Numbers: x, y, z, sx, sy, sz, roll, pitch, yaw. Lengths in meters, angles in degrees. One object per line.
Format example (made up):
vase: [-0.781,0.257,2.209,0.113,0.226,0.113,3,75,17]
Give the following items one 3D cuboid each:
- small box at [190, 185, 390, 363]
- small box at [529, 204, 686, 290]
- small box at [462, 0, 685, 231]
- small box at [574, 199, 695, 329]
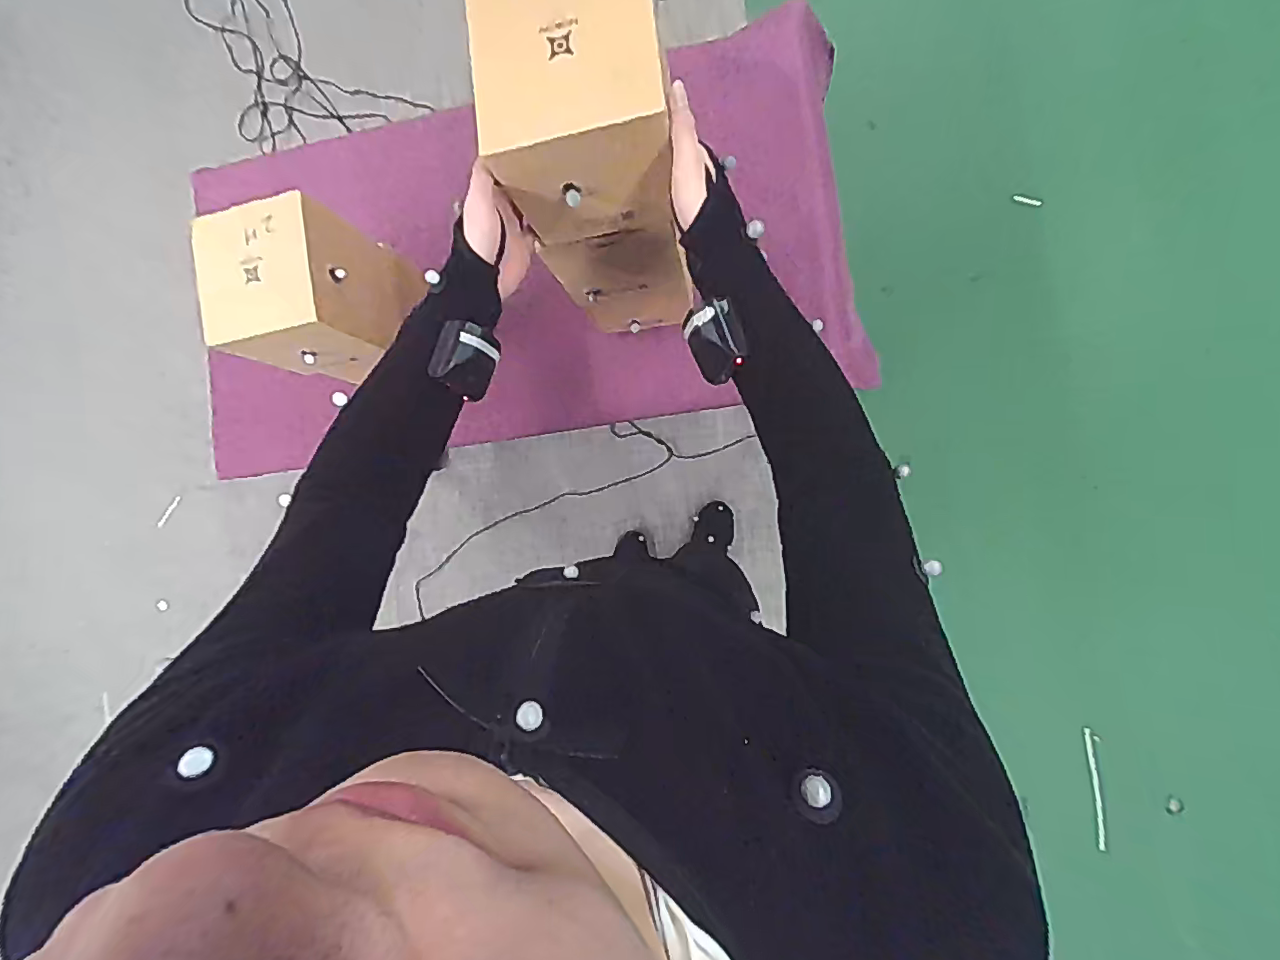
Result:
small box: [-0.478,-0.272,0.763,0.168,0.176,0.179,-9,87,9]
small box: [-0.036,-0.360,0.693,0.168,0.176,0.179,-6,85,11]
small box: [-0.053,-0.370,0.532,0.168,0.176,0.179,-8,85,11]
small box: [-0.007,-0.357,0.854,0.168,0.176,0.179,-5,87,11]
